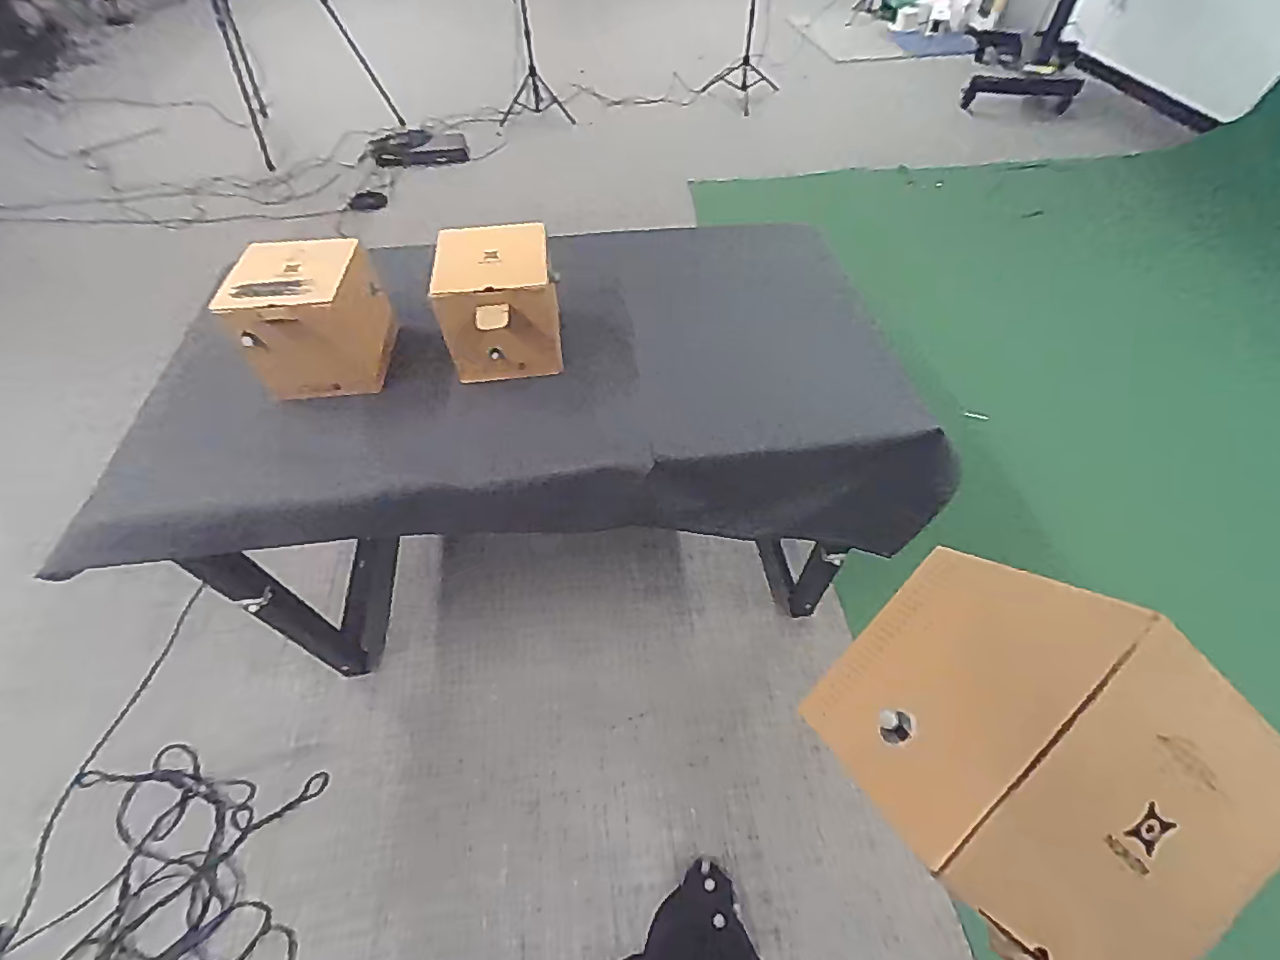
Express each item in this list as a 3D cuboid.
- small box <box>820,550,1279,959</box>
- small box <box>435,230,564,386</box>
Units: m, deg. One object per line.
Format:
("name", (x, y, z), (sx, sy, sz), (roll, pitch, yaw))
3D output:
("small box", (0.249, 0.173, 0.361), (0.168, 0.176, 0.179), (41, 88, -10))
("small box", (-0.215, -0.275, 0.871), (0.168, 0.176, 0.179), (-6, 54, -4))
